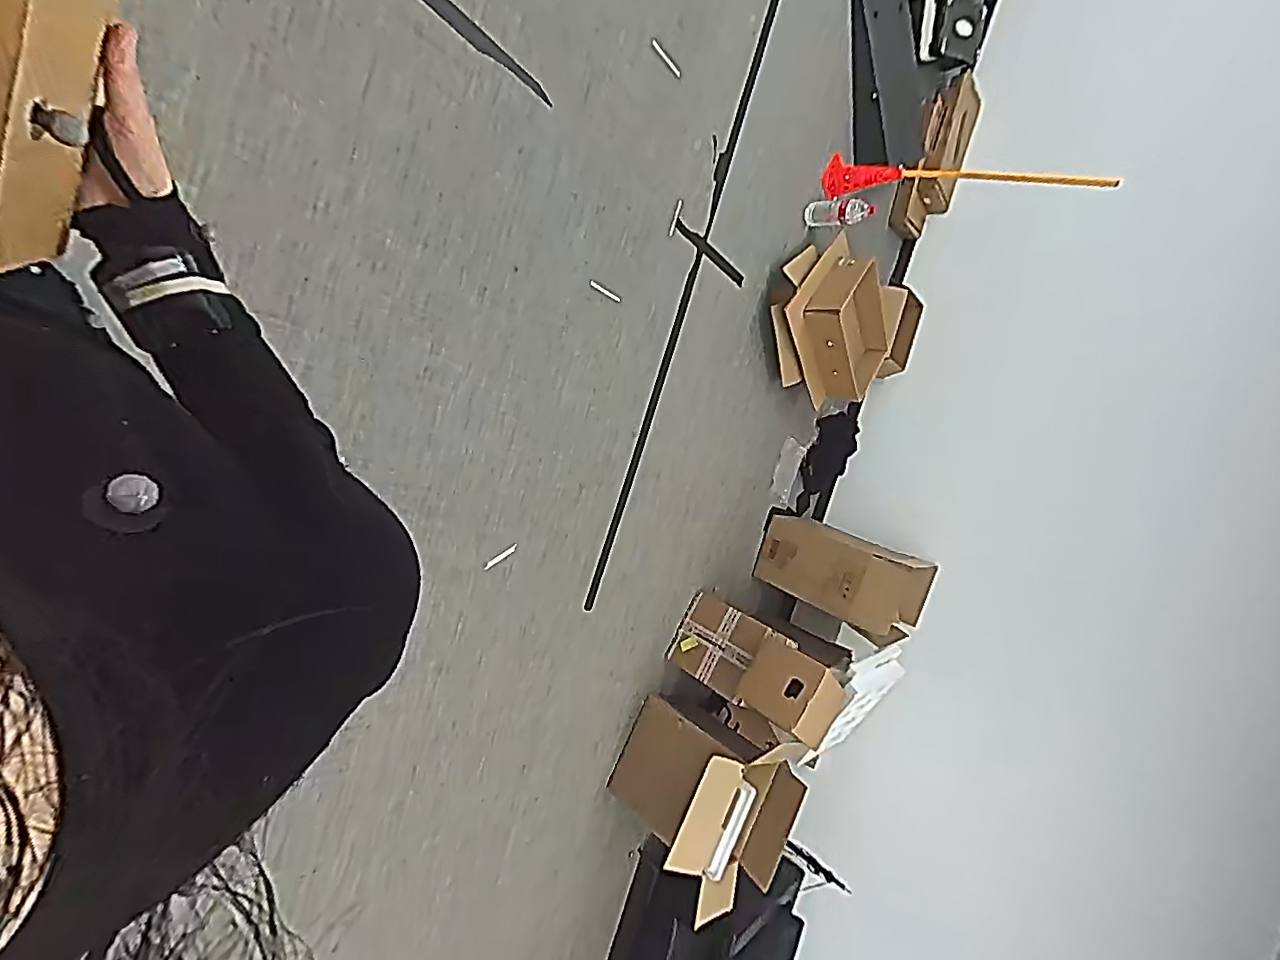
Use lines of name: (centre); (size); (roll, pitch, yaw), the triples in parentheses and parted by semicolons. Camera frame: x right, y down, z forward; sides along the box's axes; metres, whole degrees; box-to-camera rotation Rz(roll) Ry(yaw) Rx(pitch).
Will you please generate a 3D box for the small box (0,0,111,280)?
small box: (-0.378, -0.218, 0.249); (0.168, 0.176, 0.179); (13, 104, -42)
